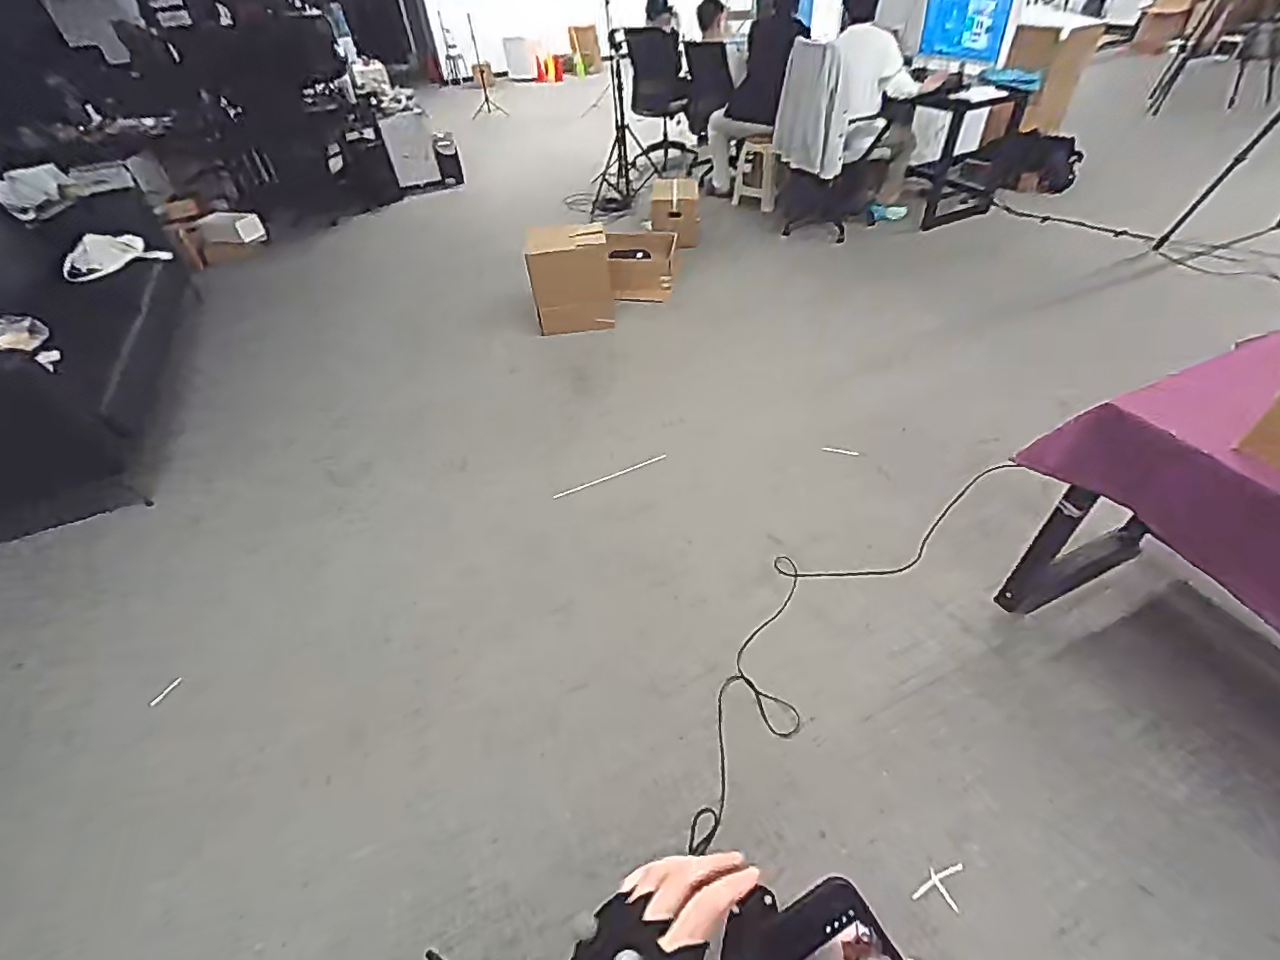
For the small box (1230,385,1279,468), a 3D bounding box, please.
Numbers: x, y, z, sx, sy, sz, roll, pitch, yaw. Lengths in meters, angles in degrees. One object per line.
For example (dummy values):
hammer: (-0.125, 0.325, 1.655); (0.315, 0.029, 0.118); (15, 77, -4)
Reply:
small box: (1.229, -0.105, 0.954); (0.168, 0.176, 0.179); (-24, 48, -18)
